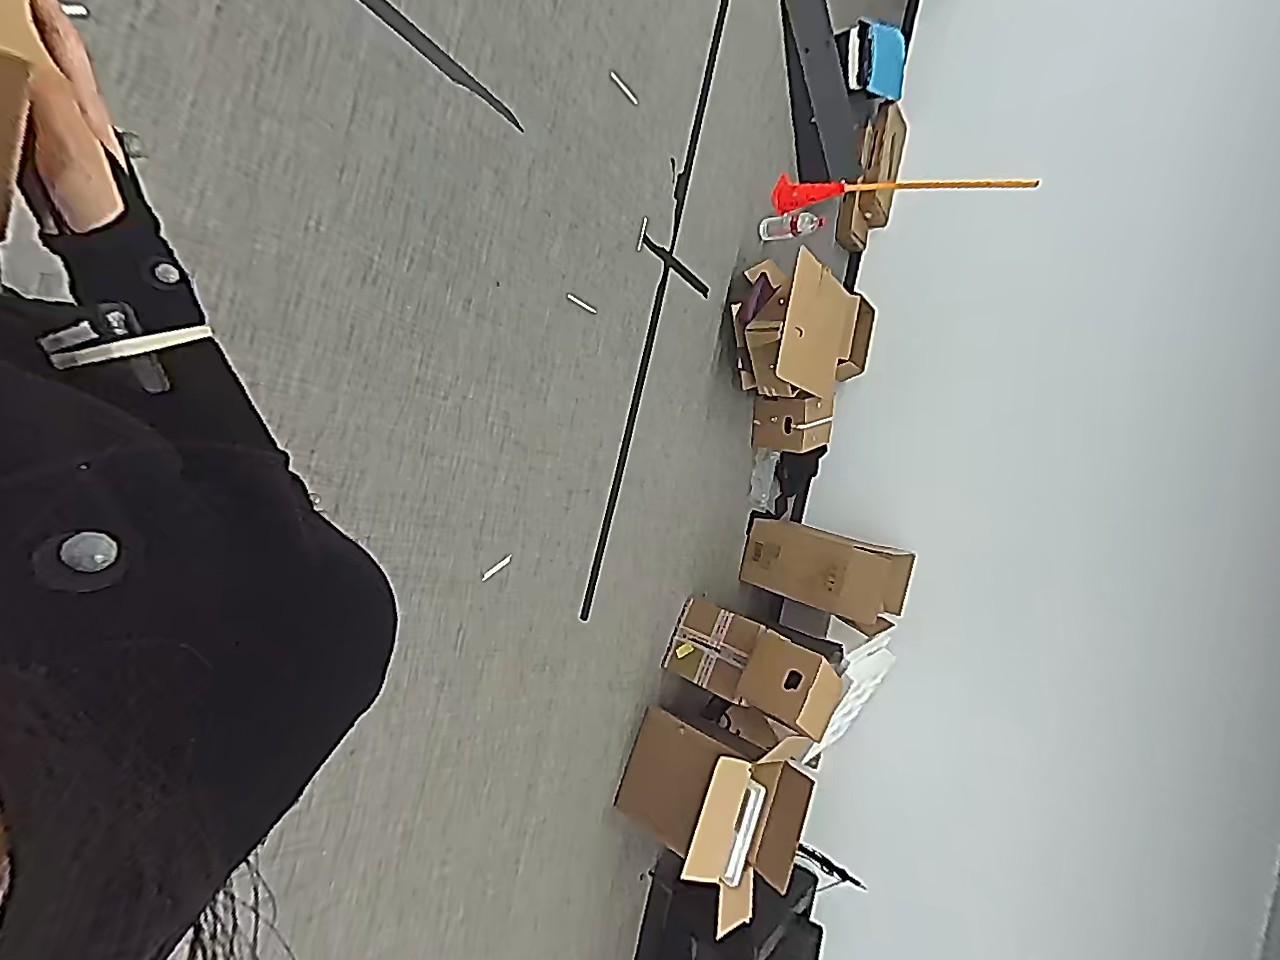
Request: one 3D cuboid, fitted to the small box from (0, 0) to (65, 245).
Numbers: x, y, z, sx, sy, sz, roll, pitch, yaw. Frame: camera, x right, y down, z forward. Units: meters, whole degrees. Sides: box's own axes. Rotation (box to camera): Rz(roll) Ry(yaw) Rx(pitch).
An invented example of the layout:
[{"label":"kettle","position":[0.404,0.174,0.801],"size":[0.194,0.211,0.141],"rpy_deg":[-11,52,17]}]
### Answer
[{"label":"small box","position":[-0.390,-0.238,0.233],"size":[0.168,0.176,0.179],"rpy_deg":[-8,84,-54]}]
